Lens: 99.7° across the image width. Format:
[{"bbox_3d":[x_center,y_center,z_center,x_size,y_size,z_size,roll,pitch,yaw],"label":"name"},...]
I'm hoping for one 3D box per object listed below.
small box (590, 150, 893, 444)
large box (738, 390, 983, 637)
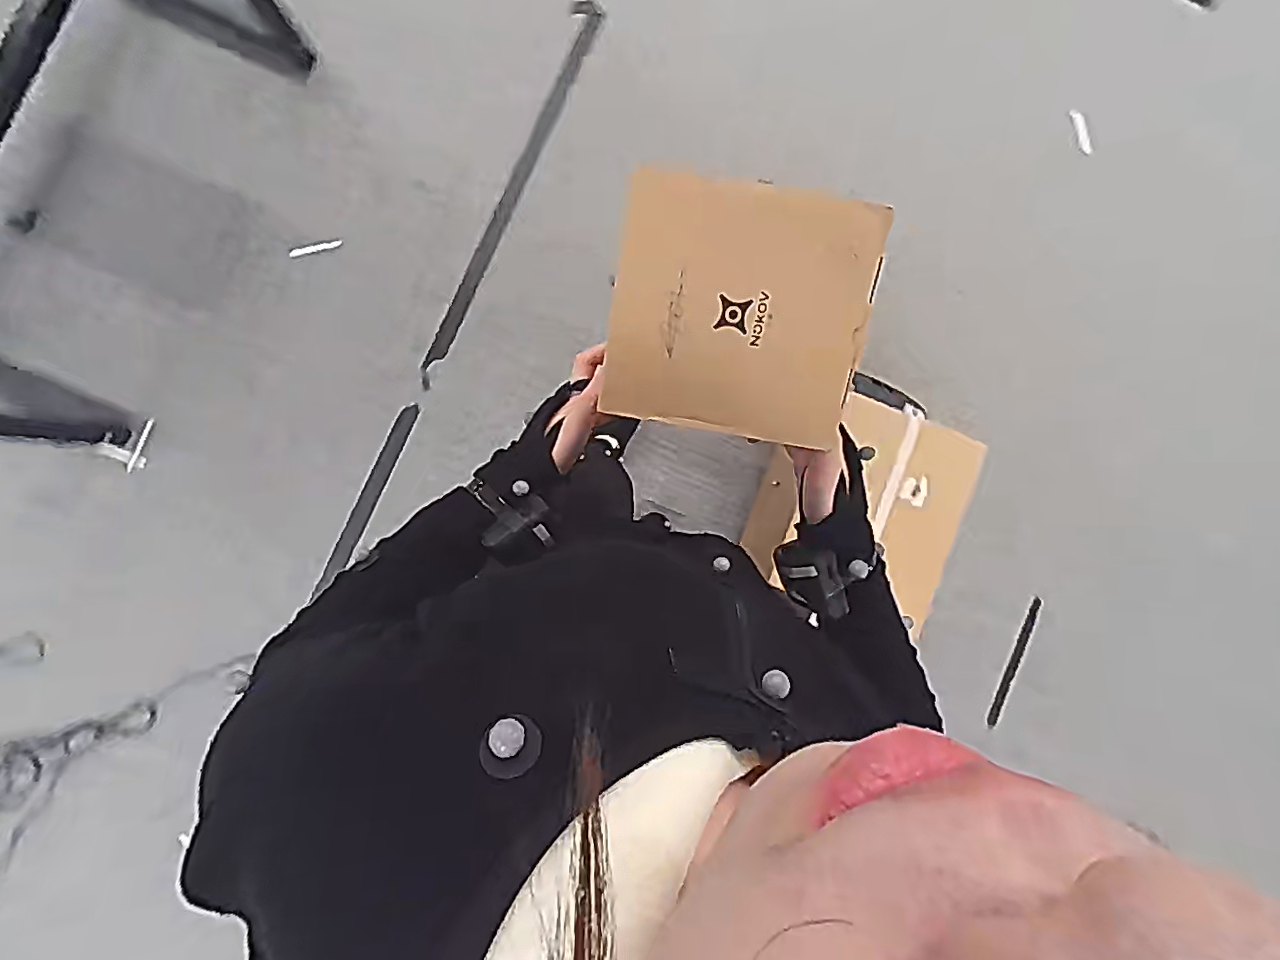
[{"bbox_3d":[0.065,-0.137,0.436,0.179,0.176,0.168,9,105,0],"label":"small box"},{"bbox_3d":[0.446,0.070,1.176,0.320,0.320,0.408,21,87,-3],"label":"large box"}]
